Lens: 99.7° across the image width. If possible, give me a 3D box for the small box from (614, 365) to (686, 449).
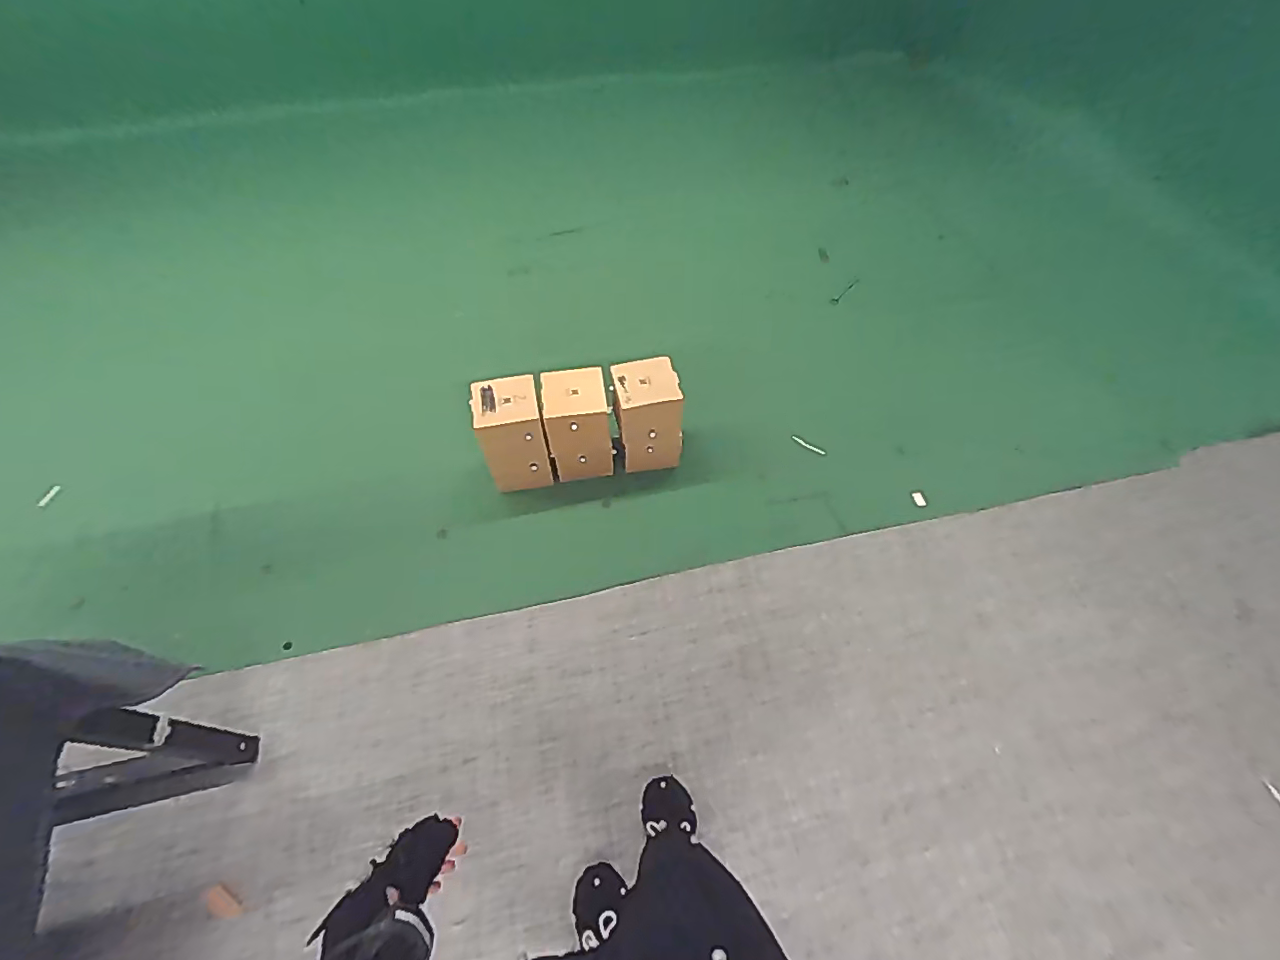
[{"bbox_3d":[0.022,-0.210,1.580,0.179,0.176,0.168,-10,57,-8],"label":"small box"}]
